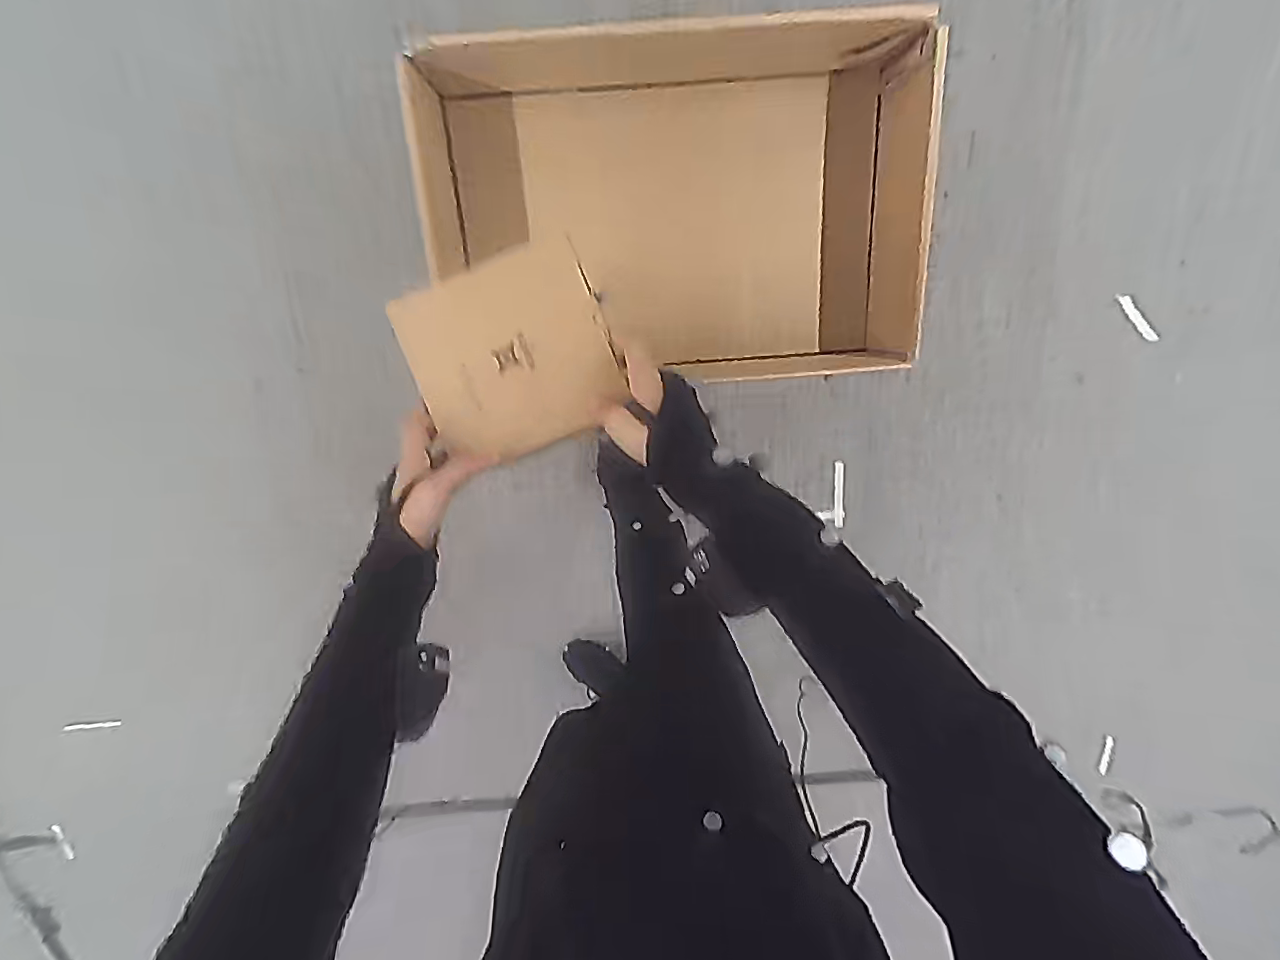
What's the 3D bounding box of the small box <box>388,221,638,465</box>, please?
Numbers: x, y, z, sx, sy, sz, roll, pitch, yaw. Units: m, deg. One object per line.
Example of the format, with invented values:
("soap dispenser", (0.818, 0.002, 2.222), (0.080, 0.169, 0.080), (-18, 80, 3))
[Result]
("small box", (-0.110, -0.125, 0.549), (0.179, 0.176, 0.168), (-21, 94, 3))
